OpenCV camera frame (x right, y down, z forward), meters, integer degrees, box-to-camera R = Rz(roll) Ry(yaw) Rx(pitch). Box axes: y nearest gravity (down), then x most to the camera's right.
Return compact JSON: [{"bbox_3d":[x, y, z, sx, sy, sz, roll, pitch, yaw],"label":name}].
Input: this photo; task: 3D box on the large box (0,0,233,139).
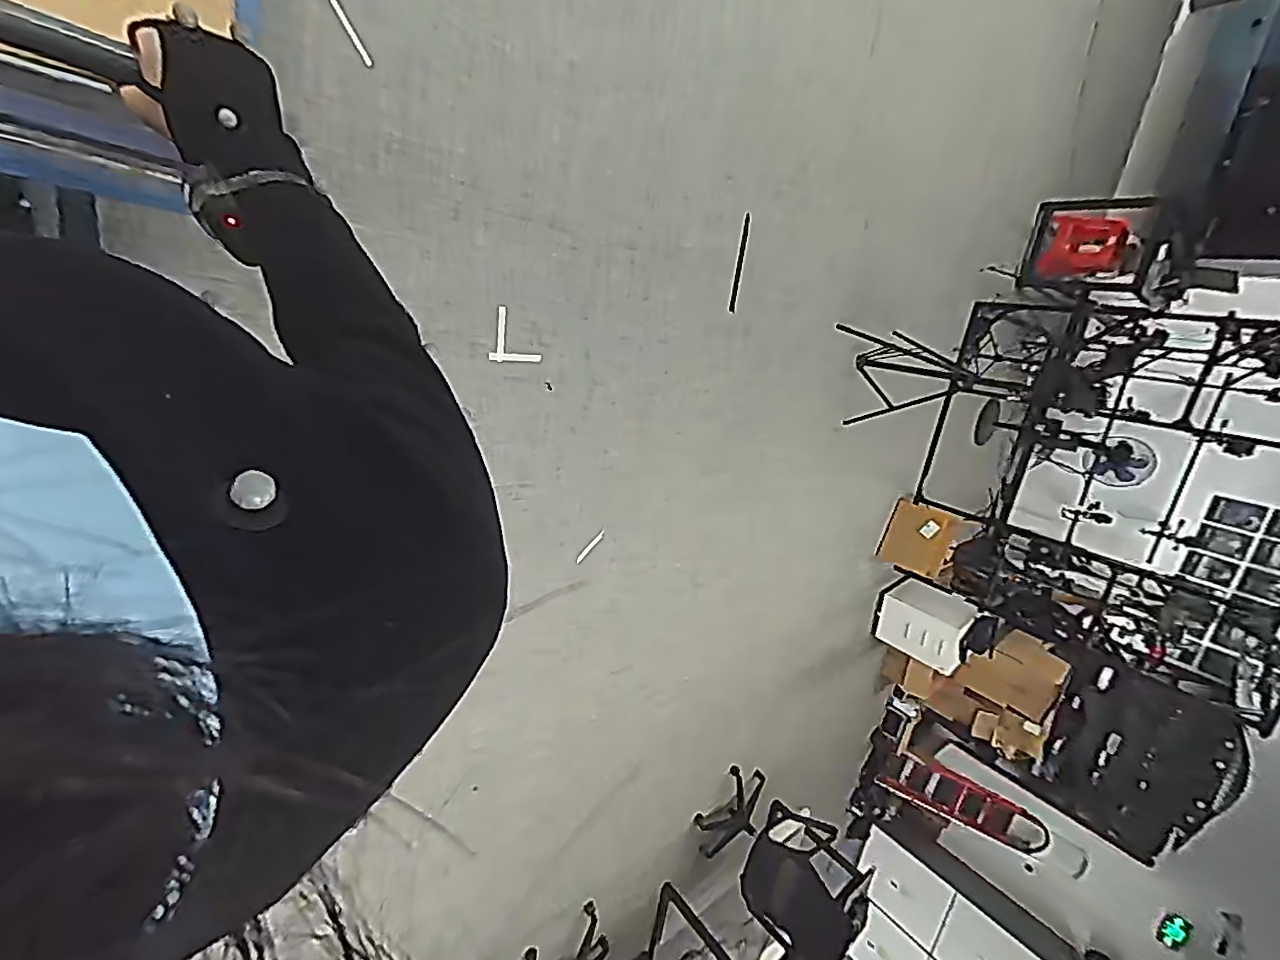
[{"bbox_3d":[-0.794,-0.679,0.680,0.408,0.320,0.320,-8,113,-42],"label":"large box"}]
